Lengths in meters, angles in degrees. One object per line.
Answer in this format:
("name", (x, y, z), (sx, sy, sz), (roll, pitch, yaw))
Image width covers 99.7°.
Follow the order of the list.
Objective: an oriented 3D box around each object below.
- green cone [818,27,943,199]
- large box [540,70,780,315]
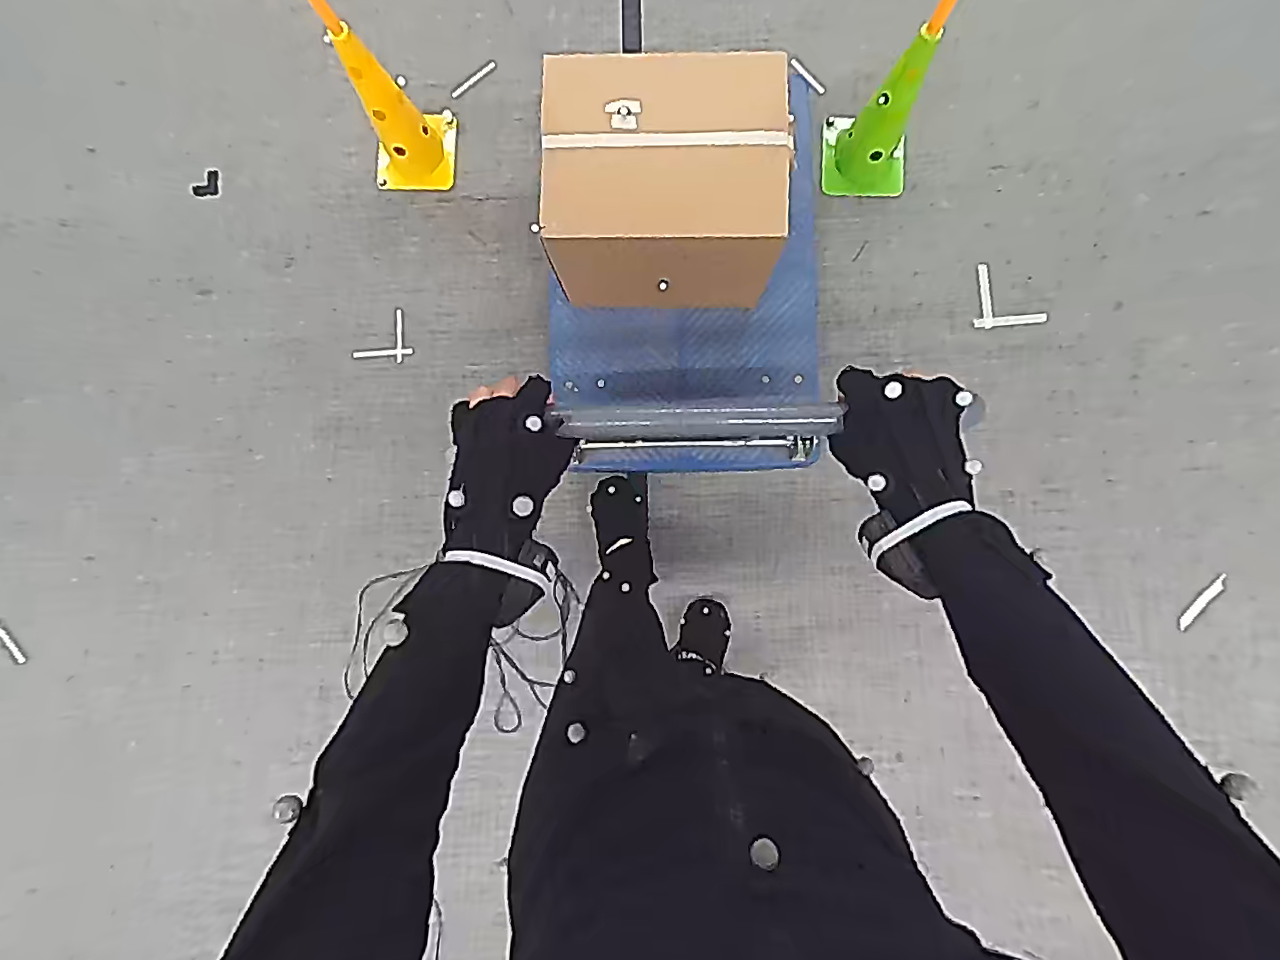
("green cone", (0.545, -0.814, 1.187), (0.202, 0.368, 0.200), (2, 87, 1))
("large box", (0.041, -0.521, 1.048), (0.408, 0.320, 0.320), (1, 87, 3))
